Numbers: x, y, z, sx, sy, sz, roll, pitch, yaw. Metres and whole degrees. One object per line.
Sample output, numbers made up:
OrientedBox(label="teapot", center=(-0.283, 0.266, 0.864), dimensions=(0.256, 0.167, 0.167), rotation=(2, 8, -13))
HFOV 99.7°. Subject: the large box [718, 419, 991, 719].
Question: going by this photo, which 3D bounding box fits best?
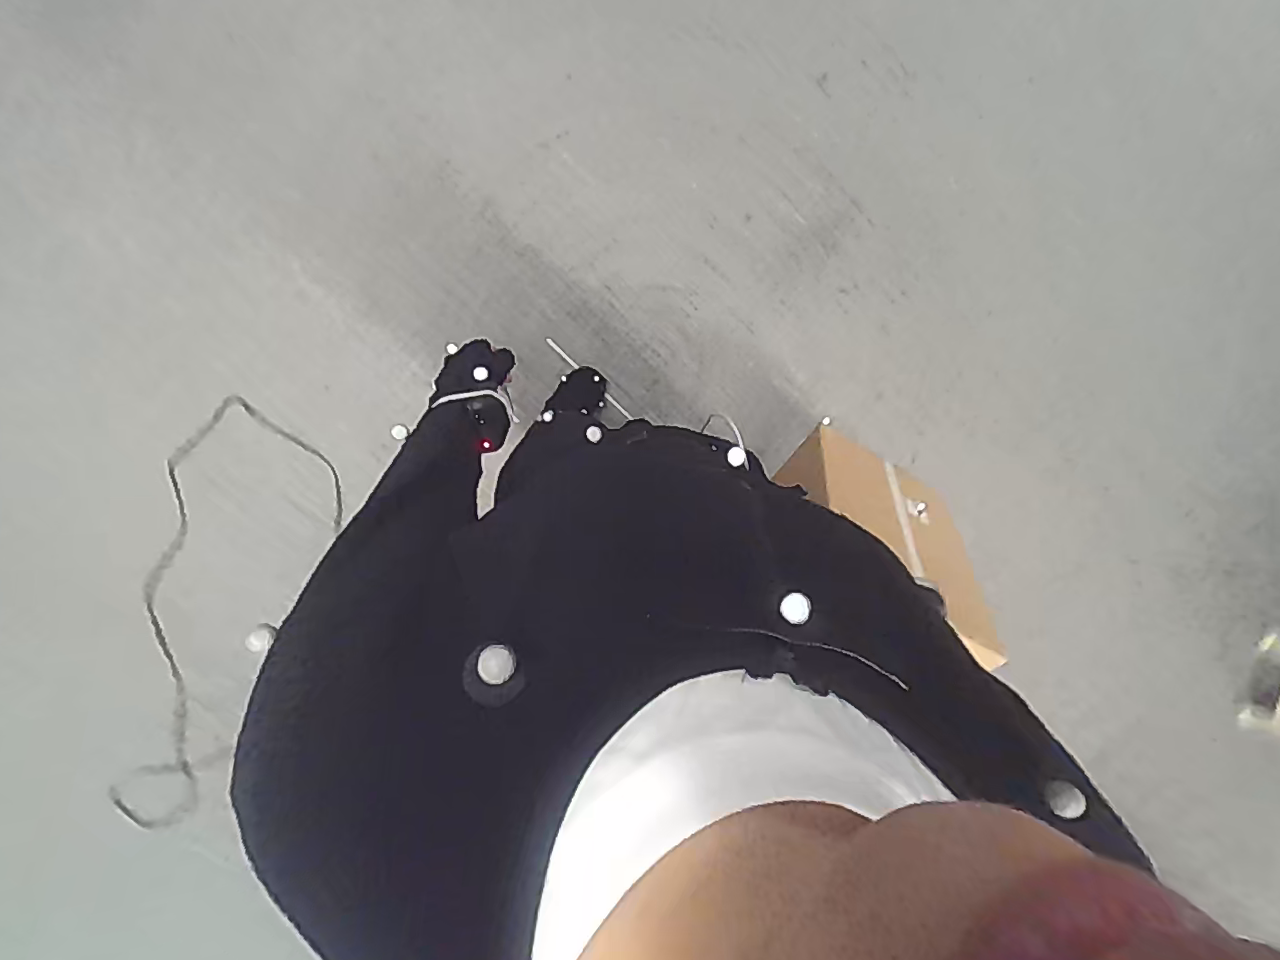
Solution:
OrientedBox(label="large box", center=(0.367, 0.162, 1.036), dimensions=(0.320, 0.408, 0.320), rotation=(29, 127, -8))
